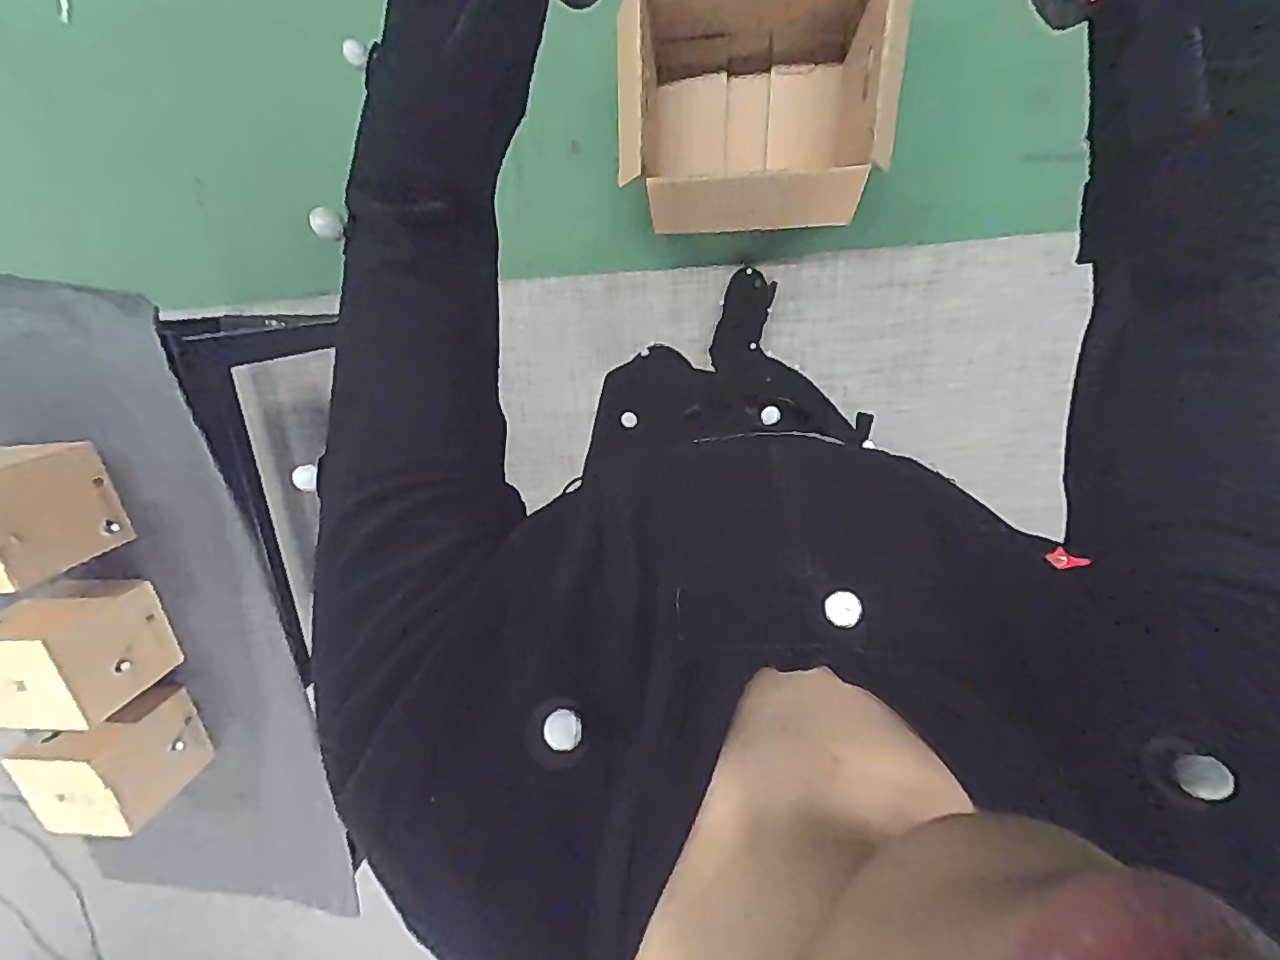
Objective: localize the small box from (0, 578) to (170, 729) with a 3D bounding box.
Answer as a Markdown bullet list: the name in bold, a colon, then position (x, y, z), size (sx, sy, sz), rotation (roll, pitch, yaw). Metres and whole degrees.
- **small box**: position (-0.908, 0.268, 0.863), size (0.179, 0.176, 0.168), rotation (-2, 110, 9)

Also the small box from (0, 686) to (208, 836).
- **small box**: position (-0.920, 0.478, 0.941), size (0.179, 0.176, 0.168), rotation (-3, 110, 8)

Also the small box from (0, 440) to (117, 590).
- **small box**: position (-0.918, 0.044, 0.776), size (0.179, 0.176, 0.168), rotation (-2, 110, 9)
